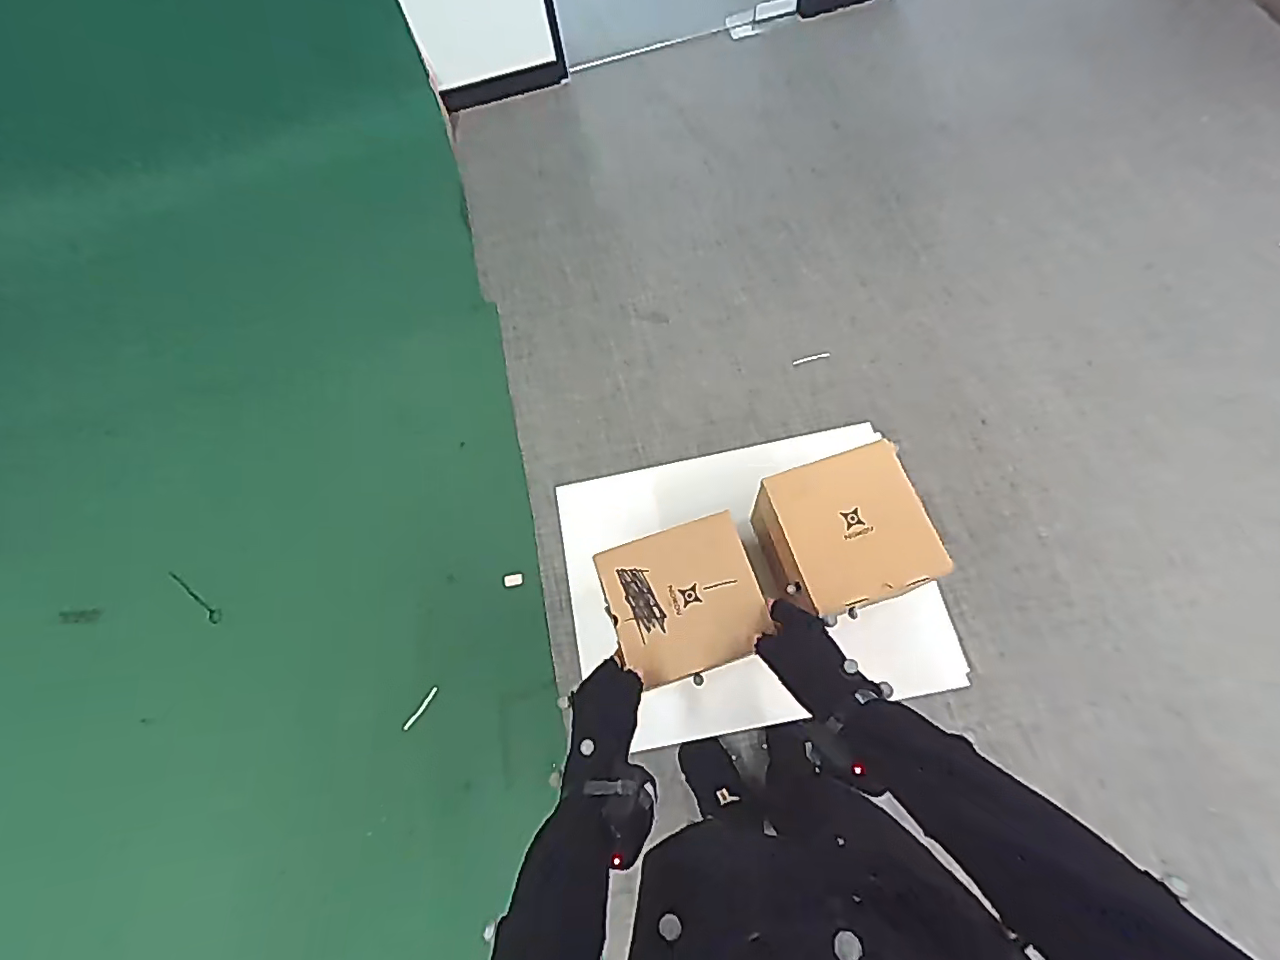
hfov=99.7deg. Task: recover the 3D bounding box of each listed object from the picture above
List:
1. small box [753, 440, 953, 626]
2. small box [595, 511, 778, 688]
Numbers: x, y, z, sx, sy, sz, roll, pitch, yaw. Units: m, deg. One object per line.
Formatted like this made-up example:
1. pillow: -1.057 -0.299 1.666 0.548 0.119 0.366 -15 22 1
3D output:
1. small box: 0.258 0.078 0.709 0.168 0.176 0.179 -18 69 0
2. small box: 0.057 0.162 0.697 0.179 0.176 0.168 -18 69 -2
